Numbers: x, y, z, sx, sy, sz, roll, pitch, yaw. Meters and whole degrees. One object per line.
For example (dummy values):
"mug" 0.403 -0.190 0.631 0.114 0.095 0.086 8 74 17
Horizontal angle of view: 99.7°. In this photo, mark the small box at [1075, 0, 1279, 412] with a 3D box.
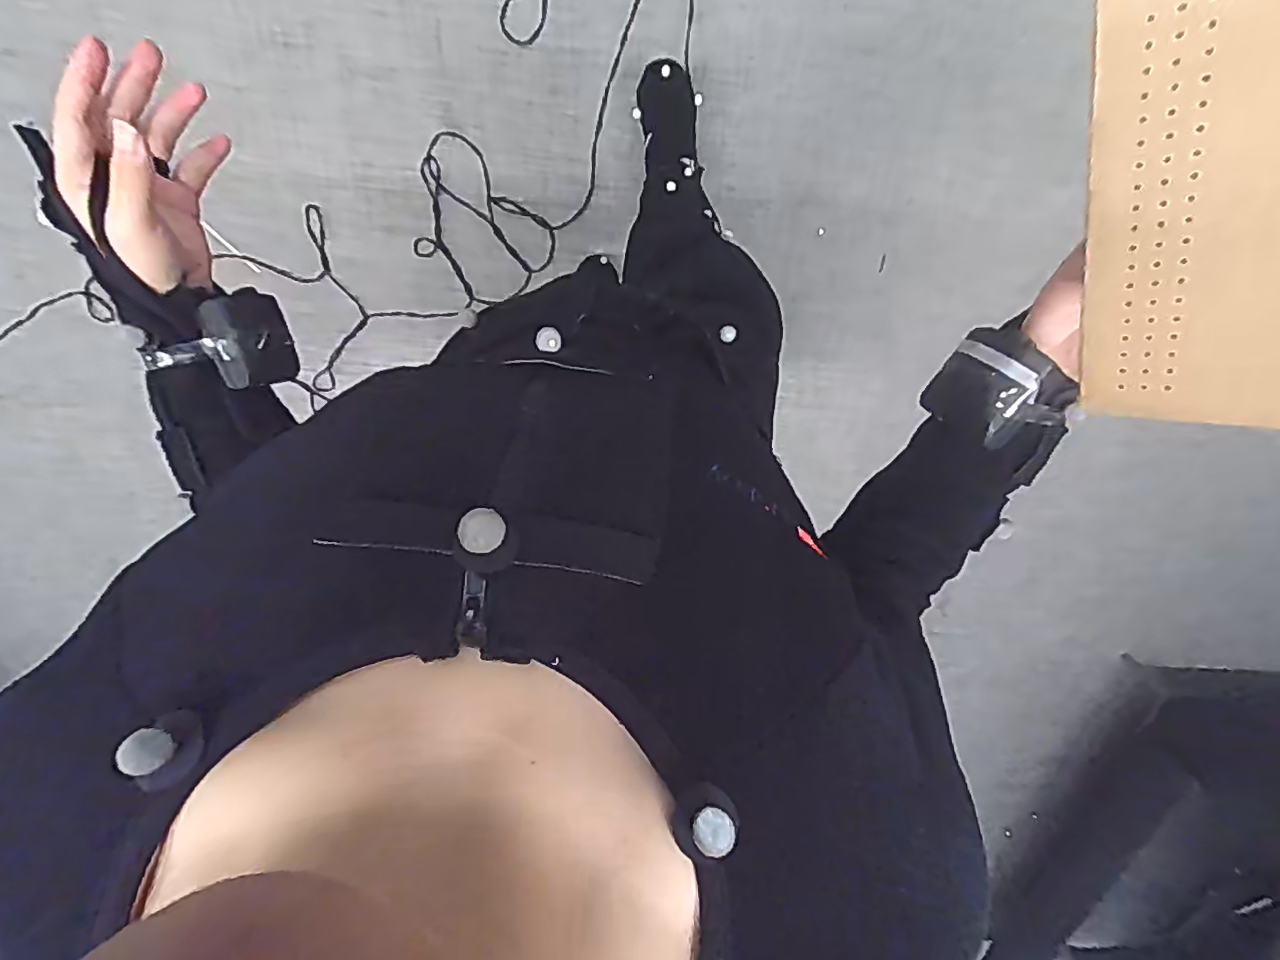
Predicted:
"small box" 0.262 -0.128 0.166 0.168 0.176 0.179 -37 119 -25
